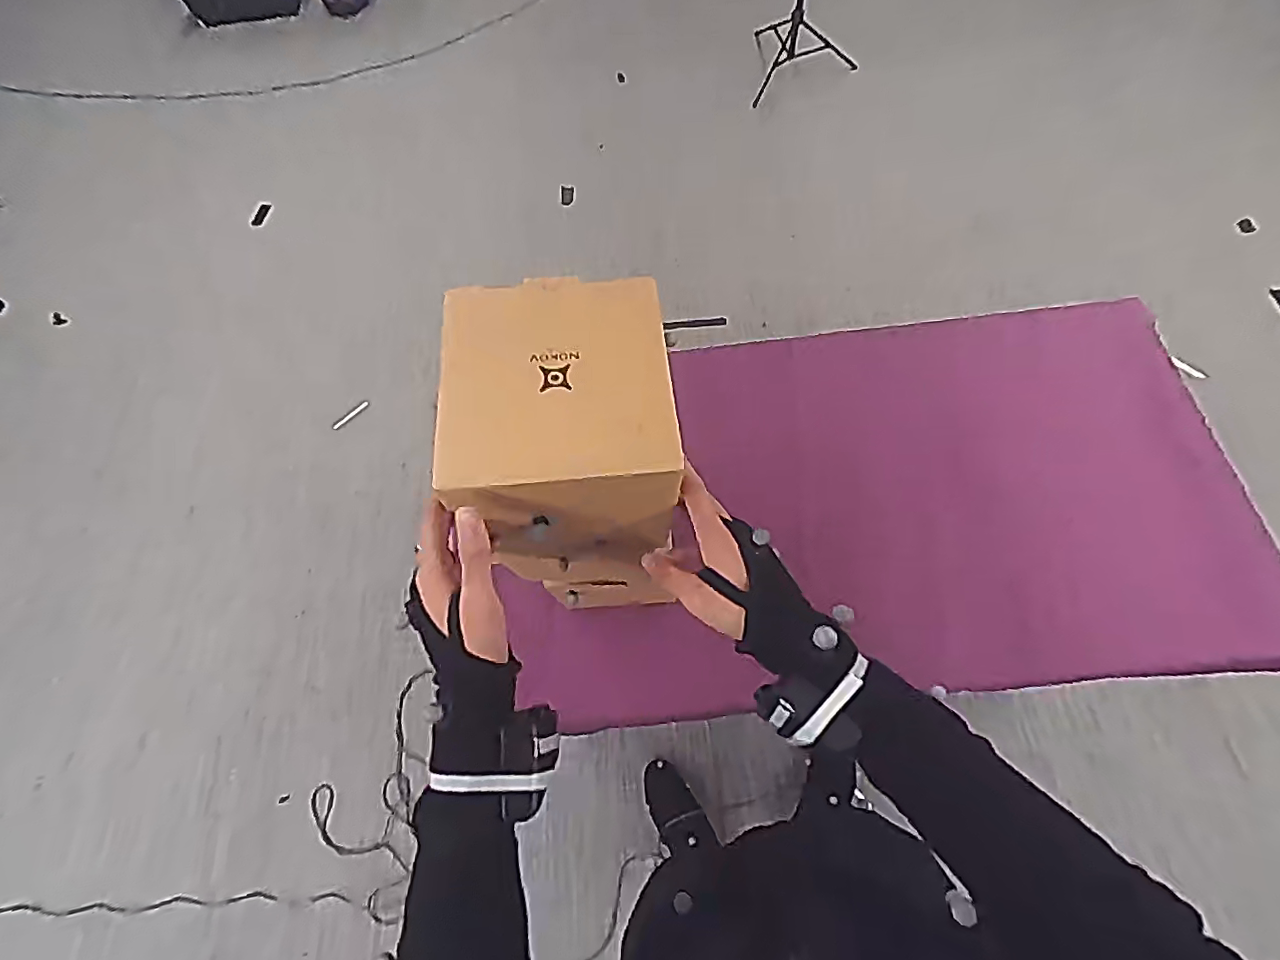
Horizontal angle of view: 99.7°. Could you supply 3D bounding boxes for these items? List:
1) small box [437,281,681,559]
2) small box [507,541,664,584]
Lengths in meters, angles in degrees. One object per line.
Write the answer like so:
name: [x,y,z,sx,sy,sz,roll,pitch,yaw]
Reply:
small box: [-0.062,-0.039,0.463,0.168,0.176,0.179,-5,63,-5]
small box: [-0.061,0.021,0.627,0.179,0.176,0.168,1,68,4]
